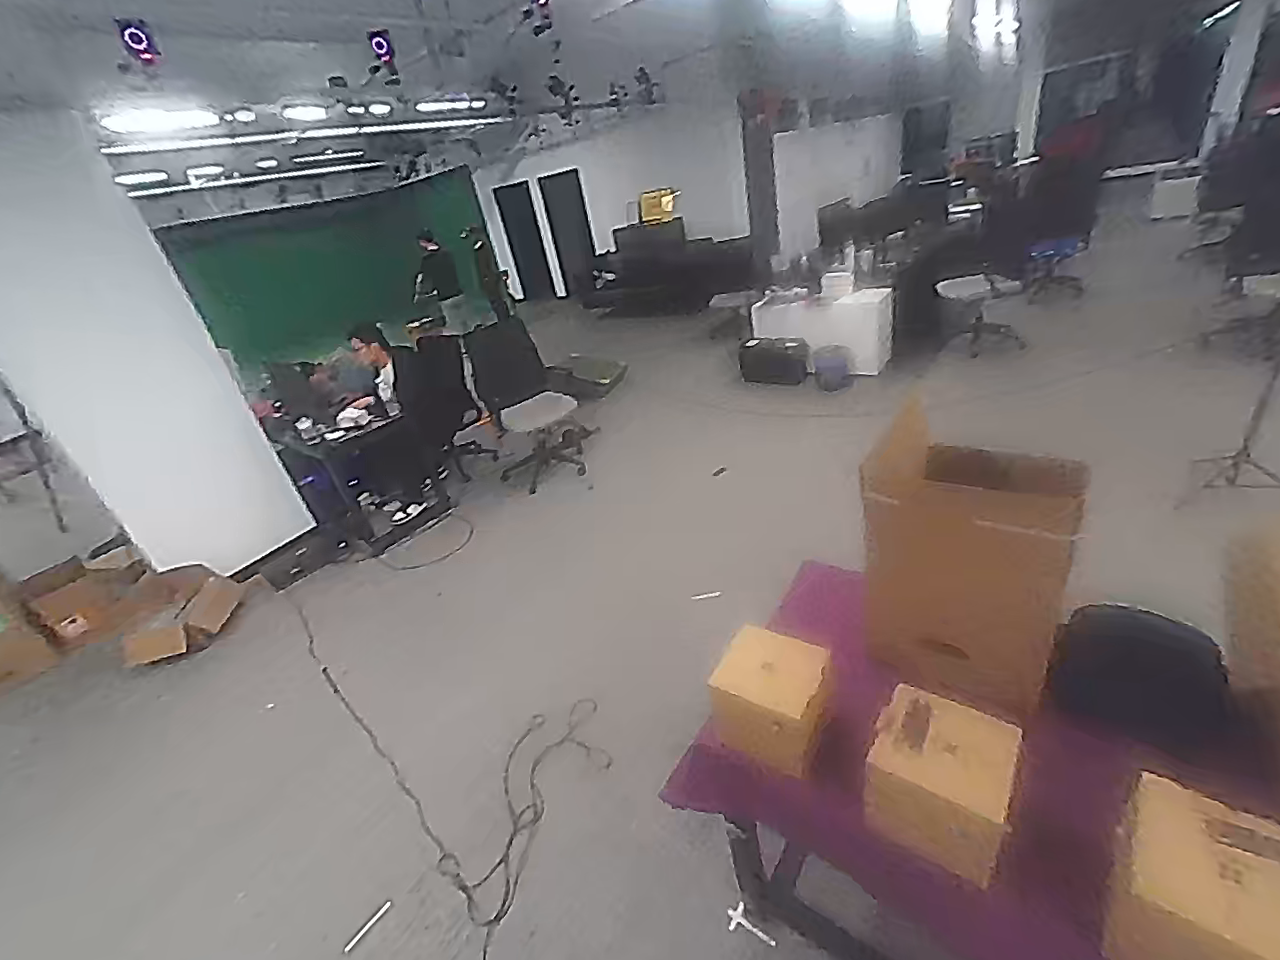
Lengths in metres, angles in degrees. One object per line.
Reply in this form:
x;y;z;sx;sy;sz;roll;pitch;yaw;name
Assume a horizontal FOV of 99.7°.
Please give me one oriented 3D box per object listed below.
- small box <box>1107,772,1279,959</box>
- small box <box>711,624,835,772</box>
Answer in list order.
0.695;0.512;0.653;0.168;0.176;0.179;14;39;40;small box
0.255;0.408;1.019;0.179;0.176;0.168;11;36;34;small box
